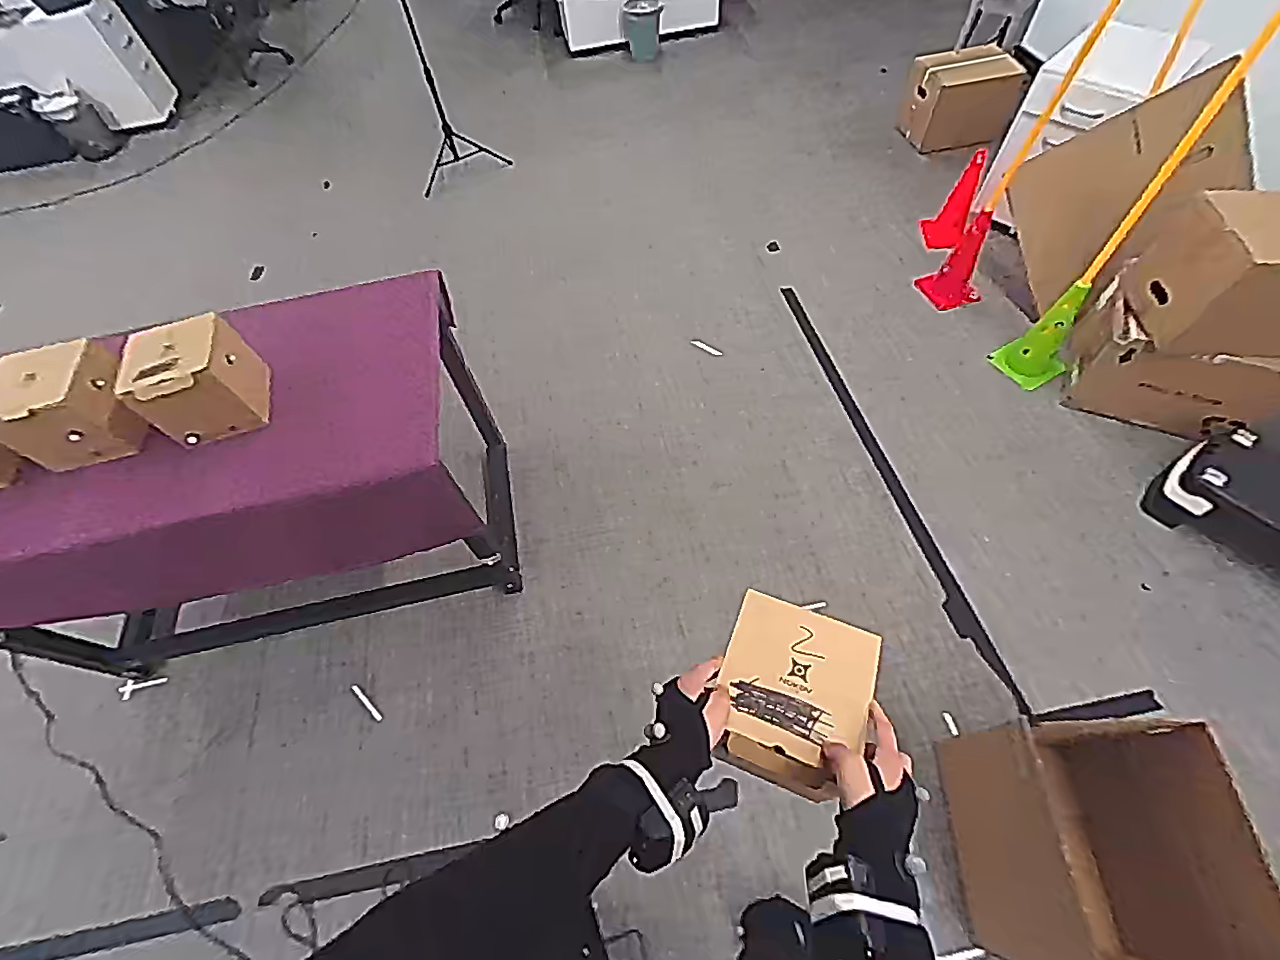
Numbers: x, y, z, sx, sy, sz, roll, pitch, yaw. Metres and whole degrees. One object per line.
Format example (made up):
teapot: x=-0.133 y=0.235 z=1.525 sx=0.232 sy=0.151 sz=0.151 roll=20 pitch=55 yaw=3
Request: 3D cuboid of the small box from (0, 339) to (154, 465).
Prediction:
small box: x=-1.123 y=-0.148 z=1.084 sx=0.168 sy=0.176 sz=0.179 roll=-14 pitch=58 yaw=-5

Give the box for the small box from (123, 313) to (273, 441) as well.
small box: x=-0.876 y=-0.199 z=1.093 sx=0.168 sy=0.176 sz=0.179 roll=-19 pitch=58 yaw=-7
